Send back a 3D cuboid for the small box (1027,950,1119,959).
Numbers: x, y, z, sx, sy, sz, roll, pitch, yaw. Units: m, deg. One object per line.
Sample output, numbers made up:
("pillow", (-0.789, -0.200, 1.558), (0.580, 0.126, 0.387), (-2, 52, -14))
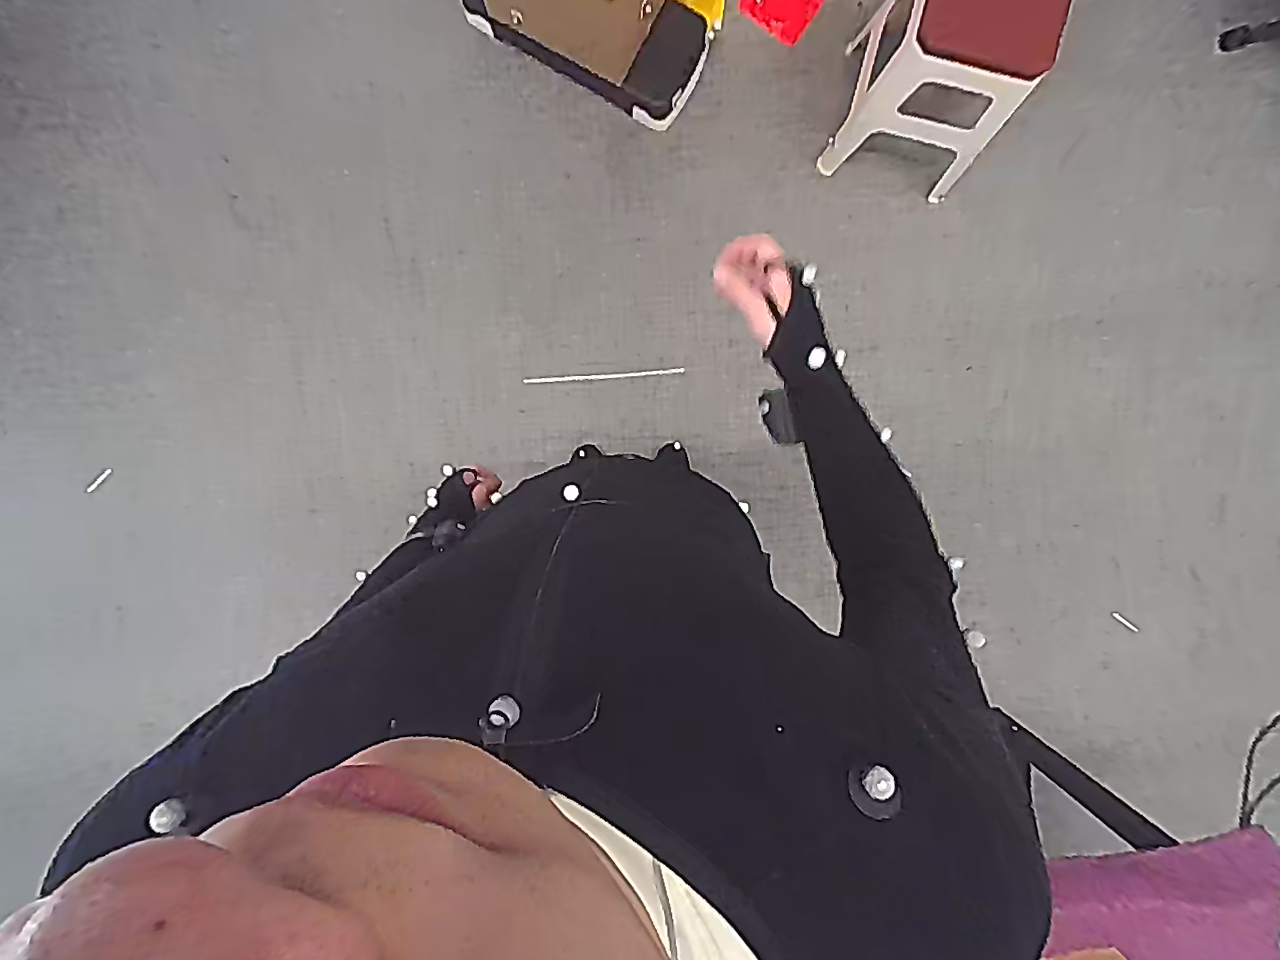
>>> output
("small box", (0.767, 0.928, 0.891), (0.179, 0.176, 0.168), (-8, 93, 1))
